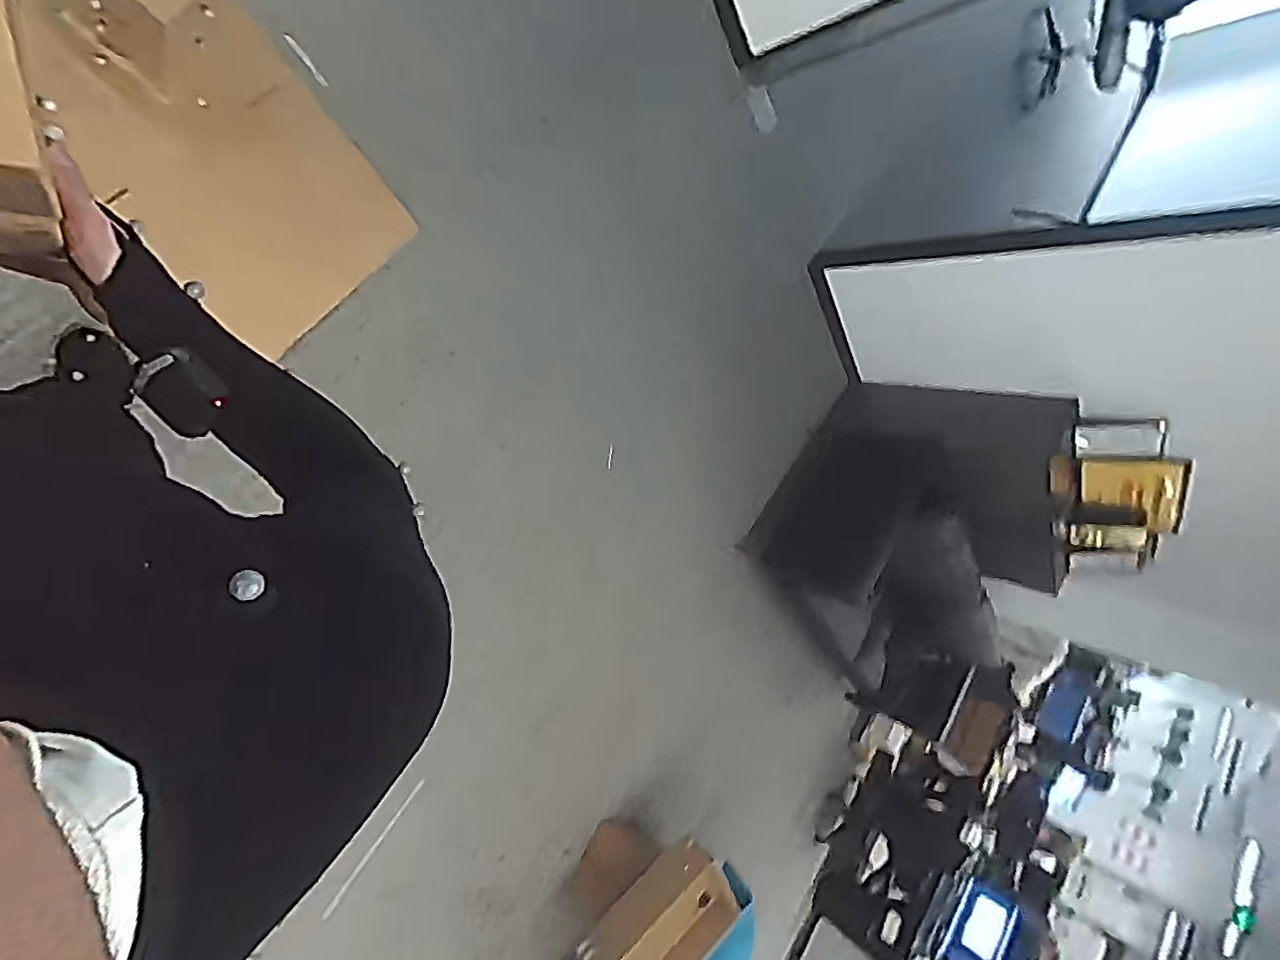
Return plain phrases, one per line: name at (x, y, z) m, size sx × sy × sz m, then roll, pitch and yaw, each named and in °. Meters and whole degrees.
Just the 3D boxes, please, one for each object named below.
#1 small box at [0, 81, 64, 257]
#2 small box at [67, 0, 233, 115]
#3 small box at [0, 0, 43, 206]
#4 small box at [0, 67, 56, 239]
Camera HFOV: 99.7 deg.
small box at (-0.629, -0.295, 0.460) m, size 0.168 × 0.176 × 0.179 m, roll -12°, pitch 110°, yaw -42°
small box at (-0.929, -0.848, 1.033) m, size 0.168 × 0.176 × 0.179 m, roll 43°, pitch 73°, yaw -41°
small box at (-0.400, -0.239, 0.233) m, size 0.168 × 0.176 × 0.179 m, roll -12°, pitch 110°, yaw -42°
small box at (-0.515, -0.263, 0.346) m, size 0.168 × 0.176 × 0.179 m, roll -13°, pitch 110°, yaw -43°
